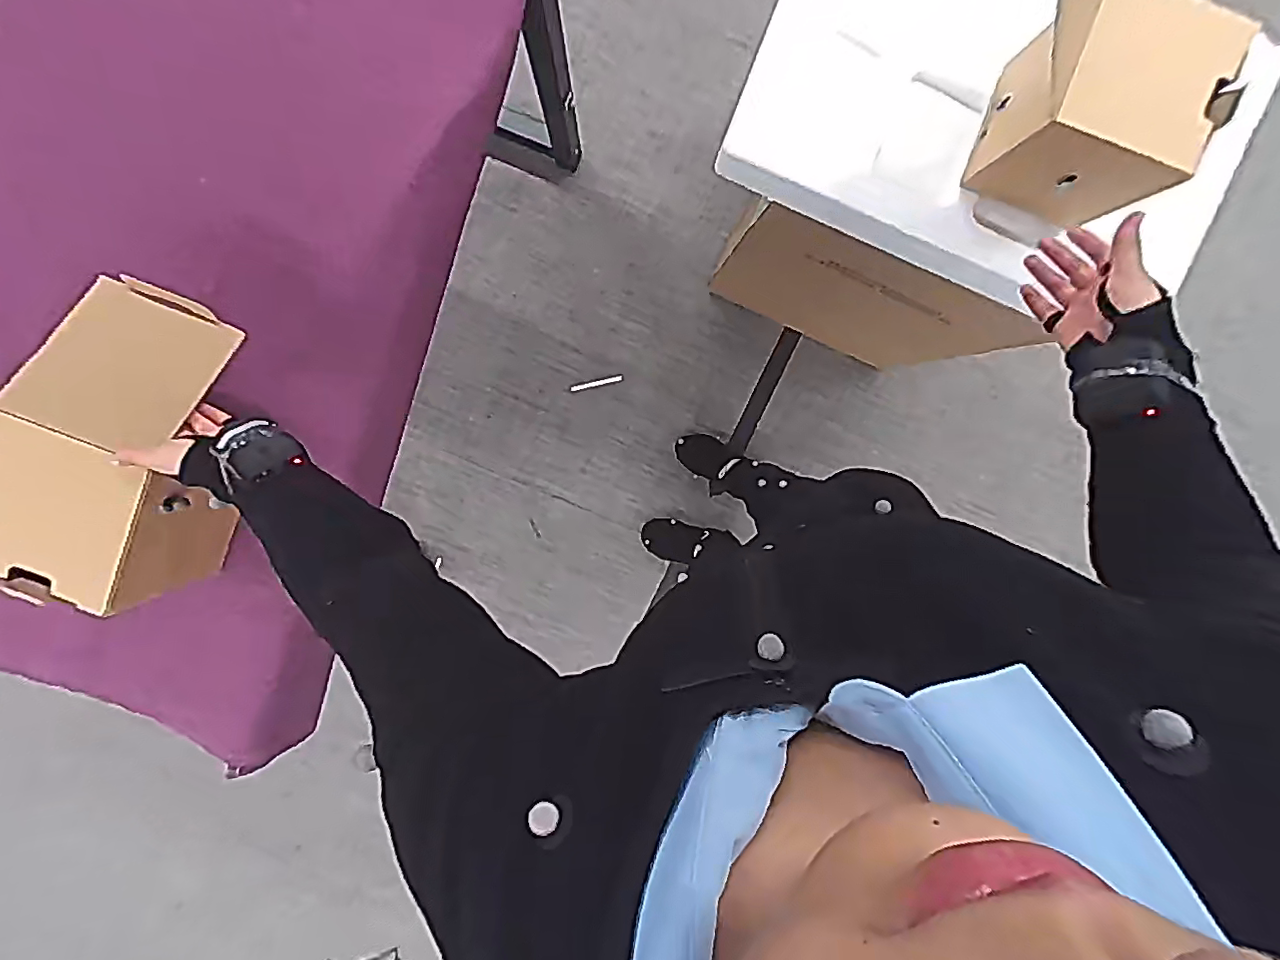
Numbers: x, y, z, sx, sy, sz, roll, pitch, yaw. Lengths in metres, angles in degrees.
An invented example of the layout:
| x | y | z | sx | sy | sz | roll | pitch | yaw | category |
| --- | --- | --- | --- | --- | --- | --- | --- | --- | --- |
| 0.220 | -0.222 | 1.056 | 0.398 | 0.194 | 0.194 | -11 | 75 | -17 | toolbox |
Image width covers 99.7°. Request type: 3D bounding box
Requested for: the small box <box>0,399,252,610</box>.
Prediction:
| x | y | z | sx | sy | sz | roll | pitch | yaw | category |
| --- | --- | --- | --- | --- | --- | --- | --- | --- | --- |
| -0.603 | 0.018 | 0.632 | 0.168 | 0.176 | 0.179 | 22 | 96 | -3 | small box |
